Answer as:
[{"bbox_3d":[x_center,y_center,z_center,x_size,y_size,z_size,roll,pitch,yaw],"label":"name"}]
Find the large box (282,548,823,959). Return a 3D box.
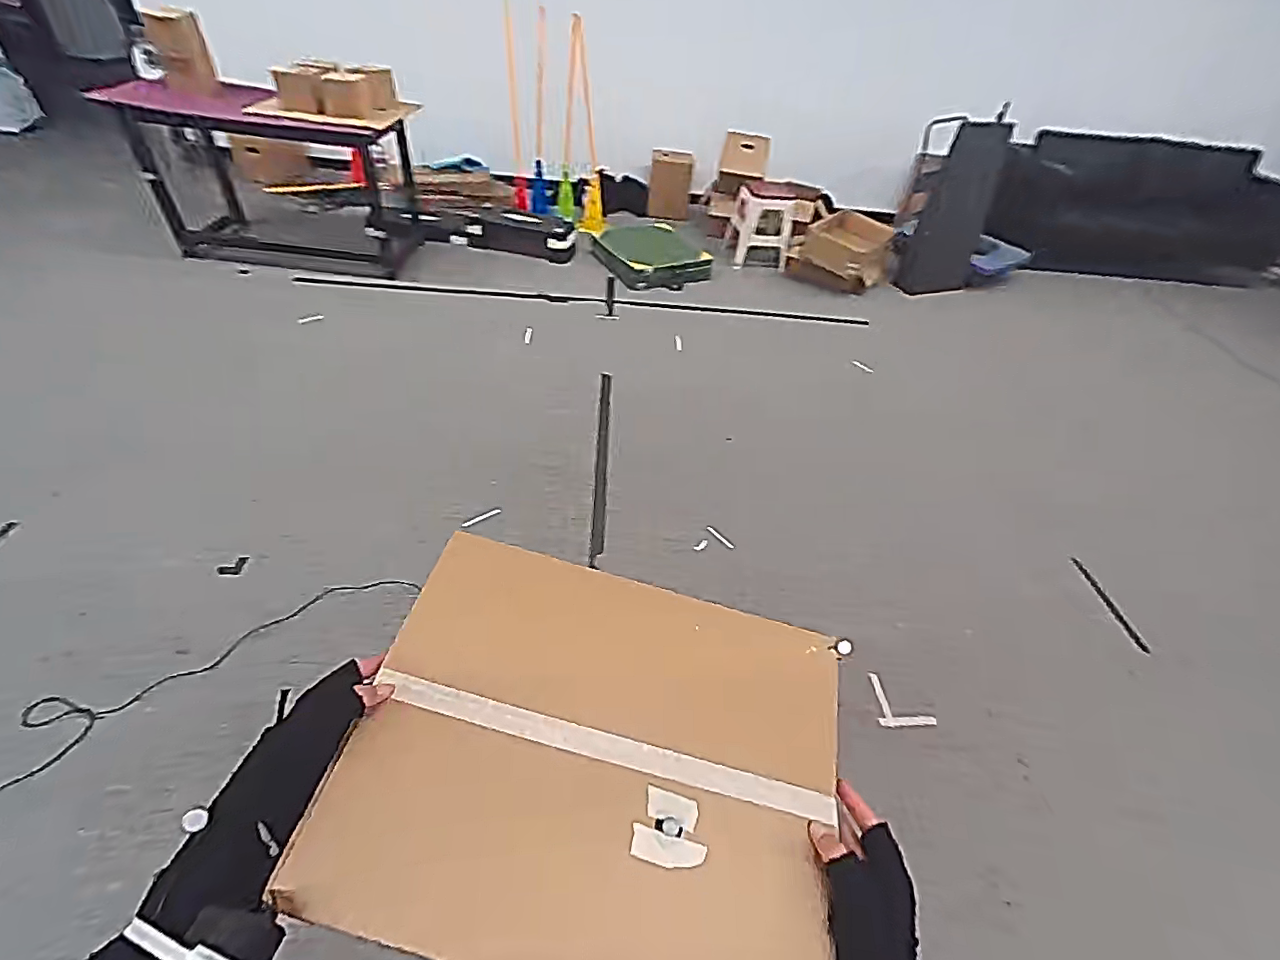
[{"bbox_3d":[-0.058,0.321,0.588,0.408,0.320,0.320,15,53,0],"label":"large box"}]
